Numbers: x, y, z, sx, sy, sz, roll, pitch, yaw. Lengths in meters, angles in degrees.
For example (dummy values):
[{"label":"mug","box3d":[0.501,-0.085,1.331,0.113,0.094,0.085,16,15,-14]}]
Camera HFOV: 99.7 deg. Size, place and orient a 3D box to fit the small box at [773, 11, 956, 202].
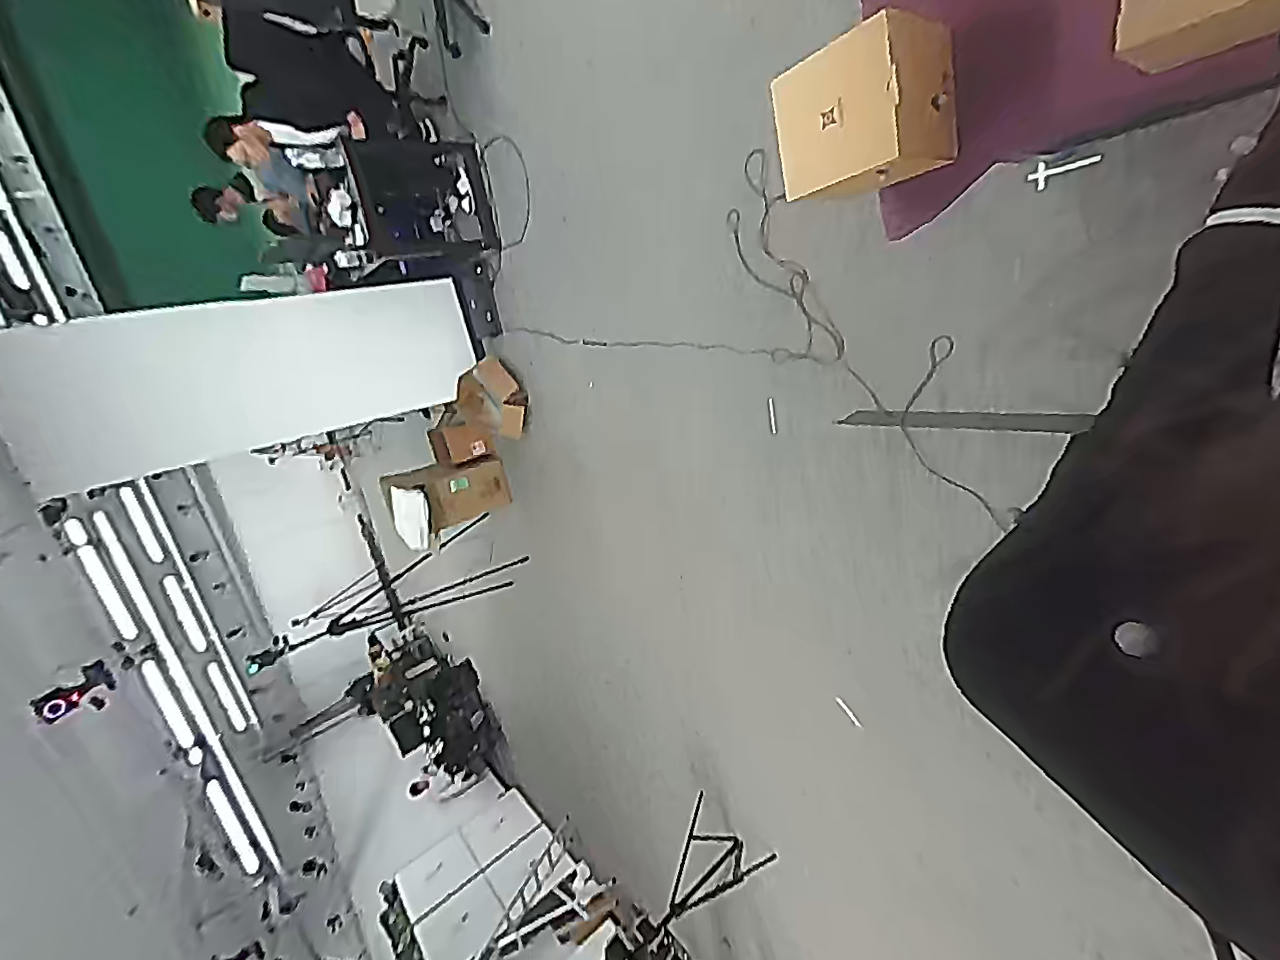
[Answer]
[{"label":"small box","box3d":[0.321,-0.511,0.772,0.179,0.176,0.168,6,113,51]}]
